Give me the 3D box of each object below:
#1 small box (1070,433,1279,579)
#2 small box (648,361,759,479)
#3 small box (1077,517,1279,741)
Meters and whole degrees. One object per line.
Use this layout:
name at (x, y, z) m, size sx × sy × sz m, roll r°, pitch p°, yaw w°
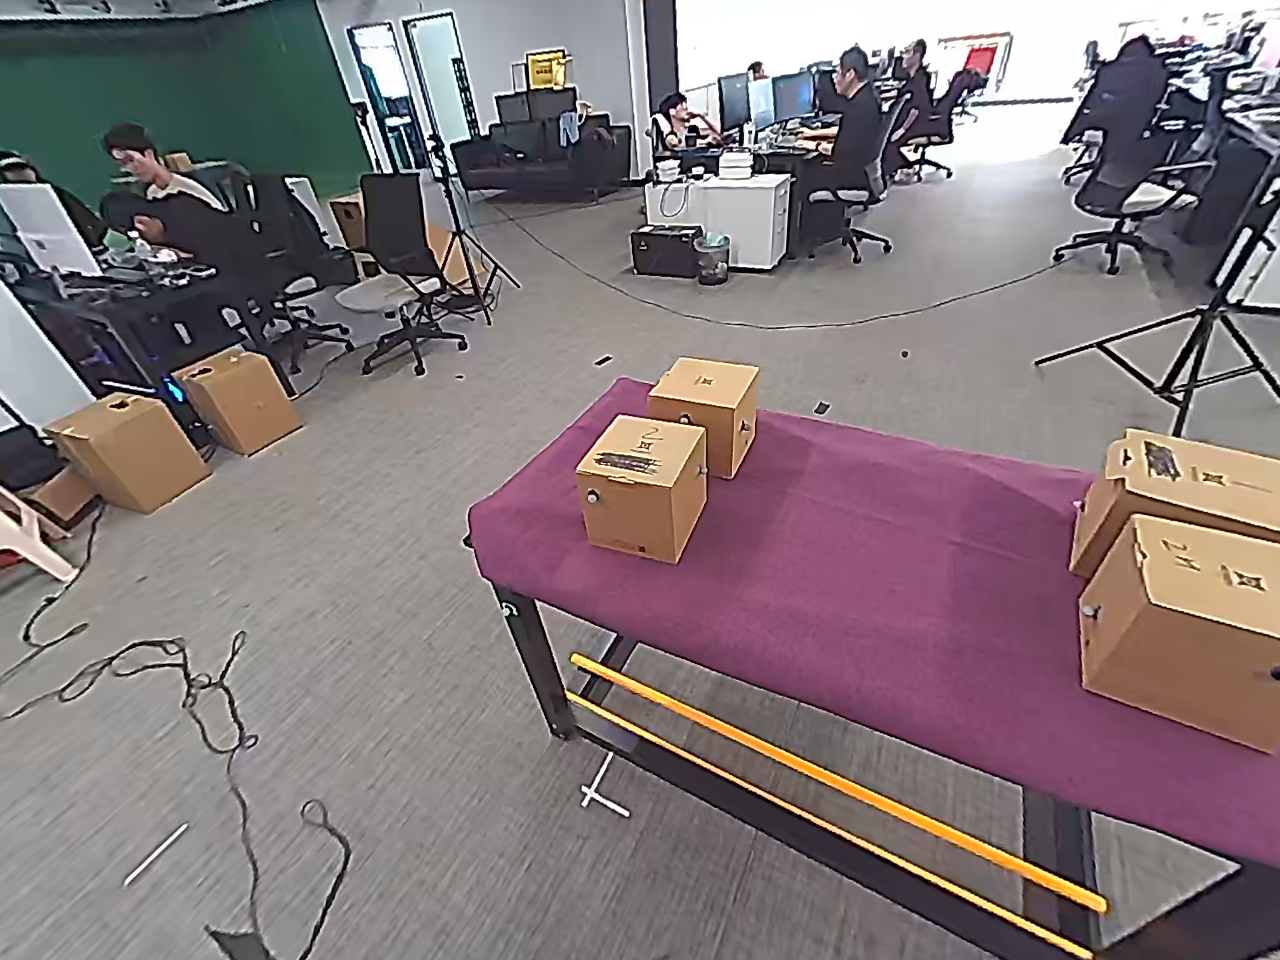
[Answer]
small box at (0.759, 0.061, 0.779) m, size 0.179 × 0.176 × 0.168 m, roll 21°, pitch 47°, yaw 29°
small box at (0.133, -0.122, 1.103) m, size 0.179 × 0.176 × 0.168 m, roll 13°, pitch 42°, yaw 22°
small box at (0.663, 0.177, 0.646) m, size 0.179 × 0.176 × 0.168 m, roll 16°, pitch 42°, yaw 27°
